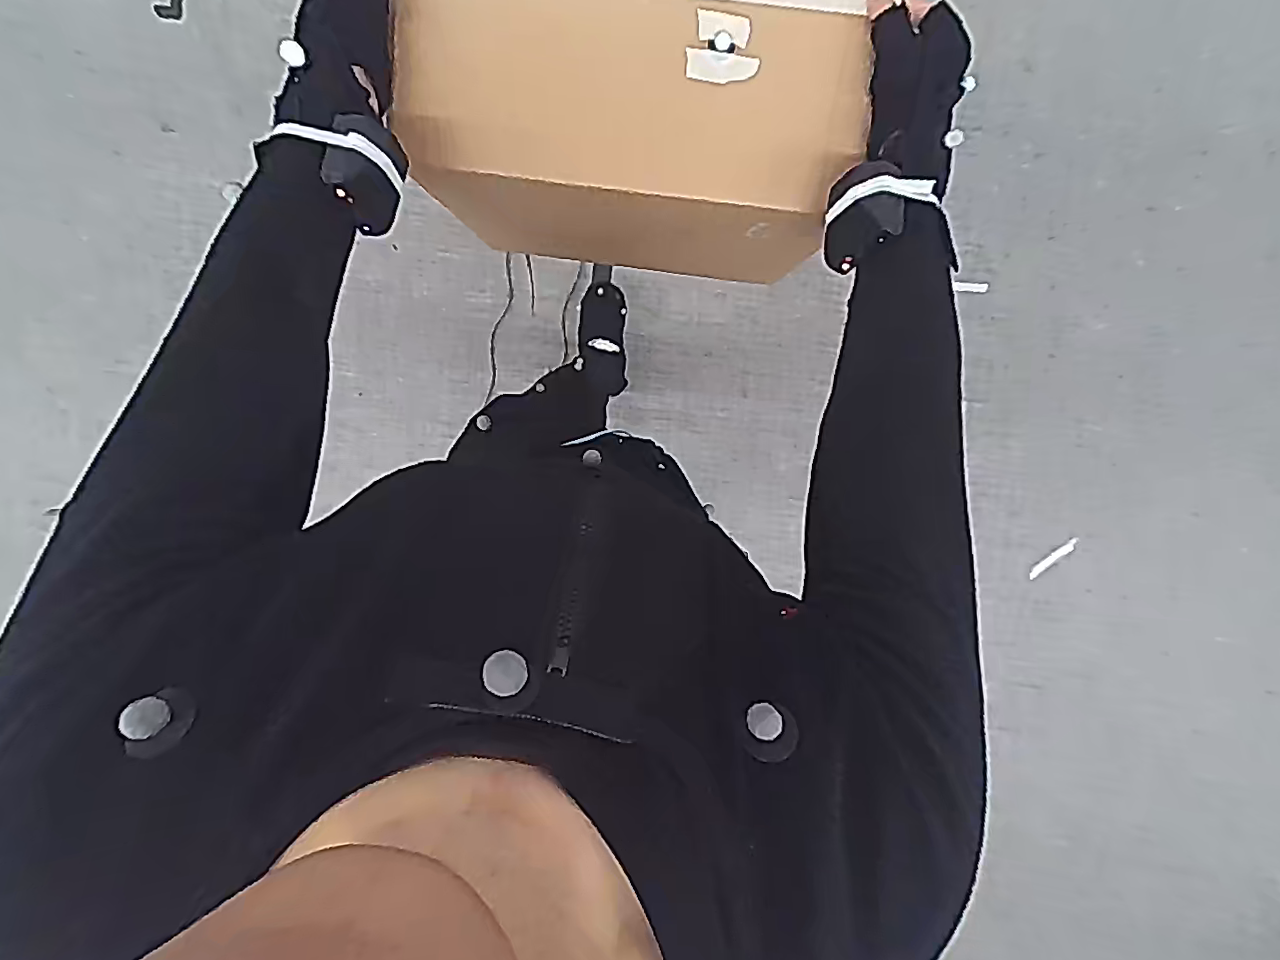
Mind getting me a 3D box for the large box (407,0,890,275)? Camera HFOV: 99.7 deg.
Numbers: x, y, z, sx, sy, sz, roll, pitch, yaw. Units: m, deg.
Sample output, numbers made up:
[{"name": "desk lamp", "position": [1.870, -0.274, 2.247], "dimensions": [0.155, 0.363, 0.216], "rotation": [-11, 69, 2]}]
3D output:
[{"name": "large box", "position": [0.008, -0.431, 0.592], "dimensions": [0.408, 0.320, 0.320], "rotation": [6, 100, -1]}]
